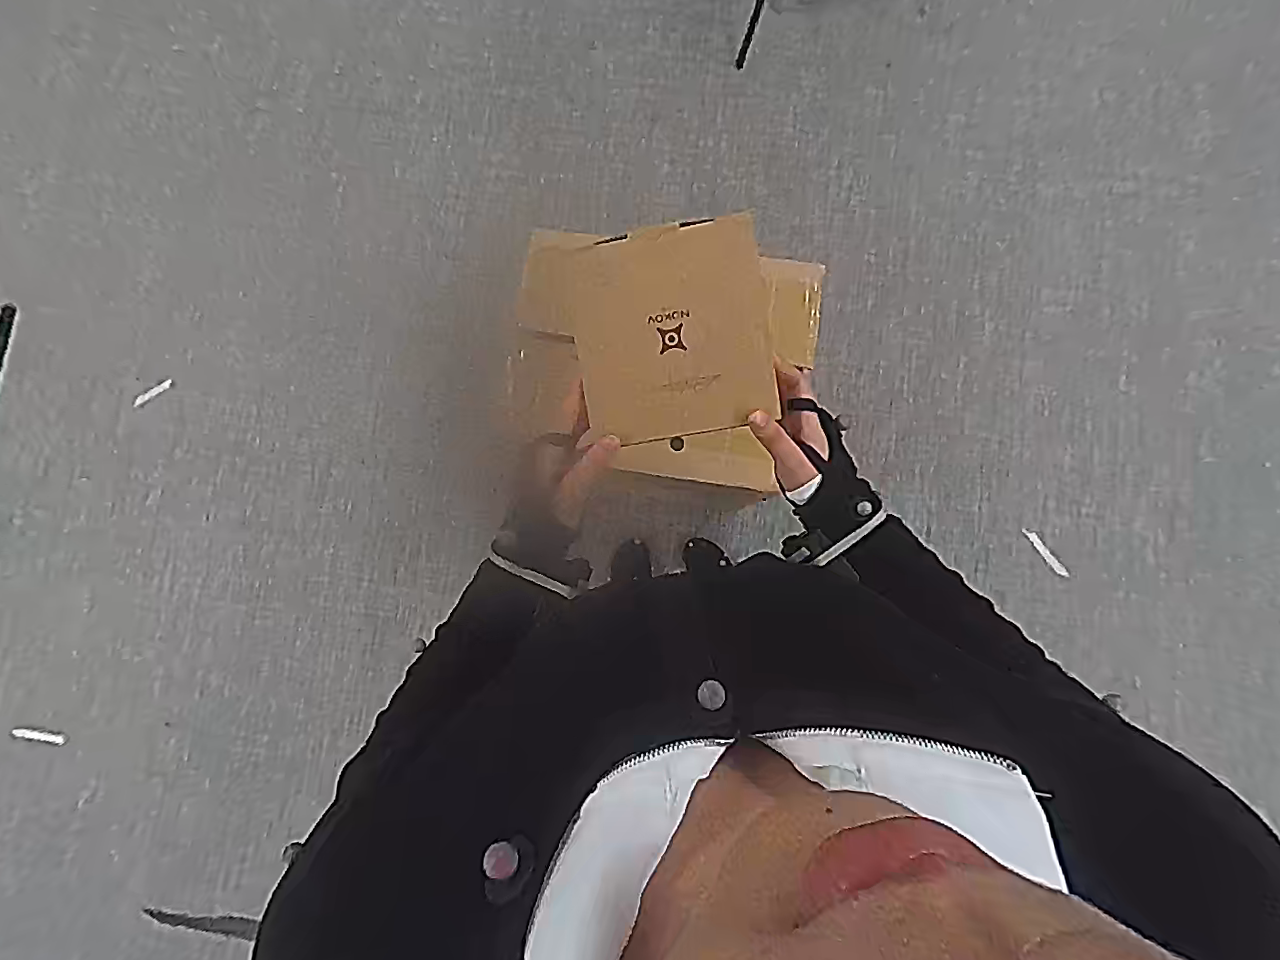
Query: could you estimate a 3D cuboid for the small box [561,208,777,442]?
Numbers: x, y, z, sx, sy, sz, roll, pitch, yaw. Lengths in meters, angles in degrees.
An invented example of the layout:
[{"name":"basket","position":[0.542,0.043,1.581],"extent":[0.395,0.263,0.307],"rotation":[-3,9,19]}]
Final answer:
[{"name":"small box","position":[0.030,-0.137,0.541],"extent":[0.168,0.176,0.179],"rotation":[-10,96,6]}]
